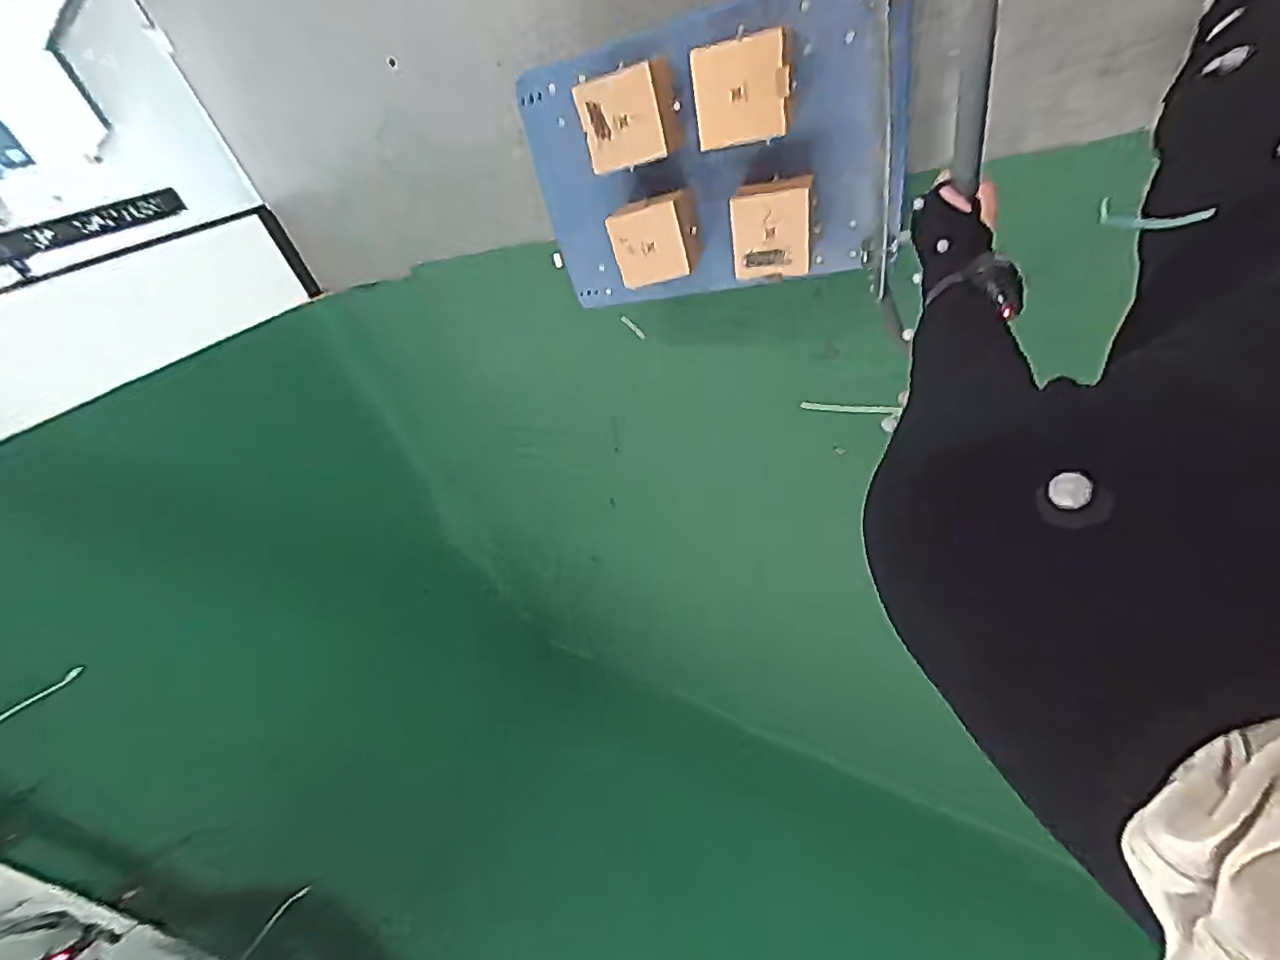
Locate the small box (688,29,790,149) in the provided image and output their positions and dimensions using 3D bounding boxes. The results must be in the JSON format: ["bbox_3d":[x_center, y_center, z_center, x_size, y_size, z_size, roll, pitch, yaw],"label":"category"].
[{"bbox_3d":[0.210,-0.797,1.108,0.179,0.176,0.168,1,128,20],"label":"small box"}]

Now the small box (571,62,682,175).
[{"bbox_3d":[-0.023,-0.798,1.195,0.179,0.176,0.168,-3,127,22],"label":"small box"}]

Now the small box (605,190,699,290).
[{"bbox_3d":[0.039,-0.596,1.338,0.179,0.176,0.168,-4,126,24],"label":"small box"}]
